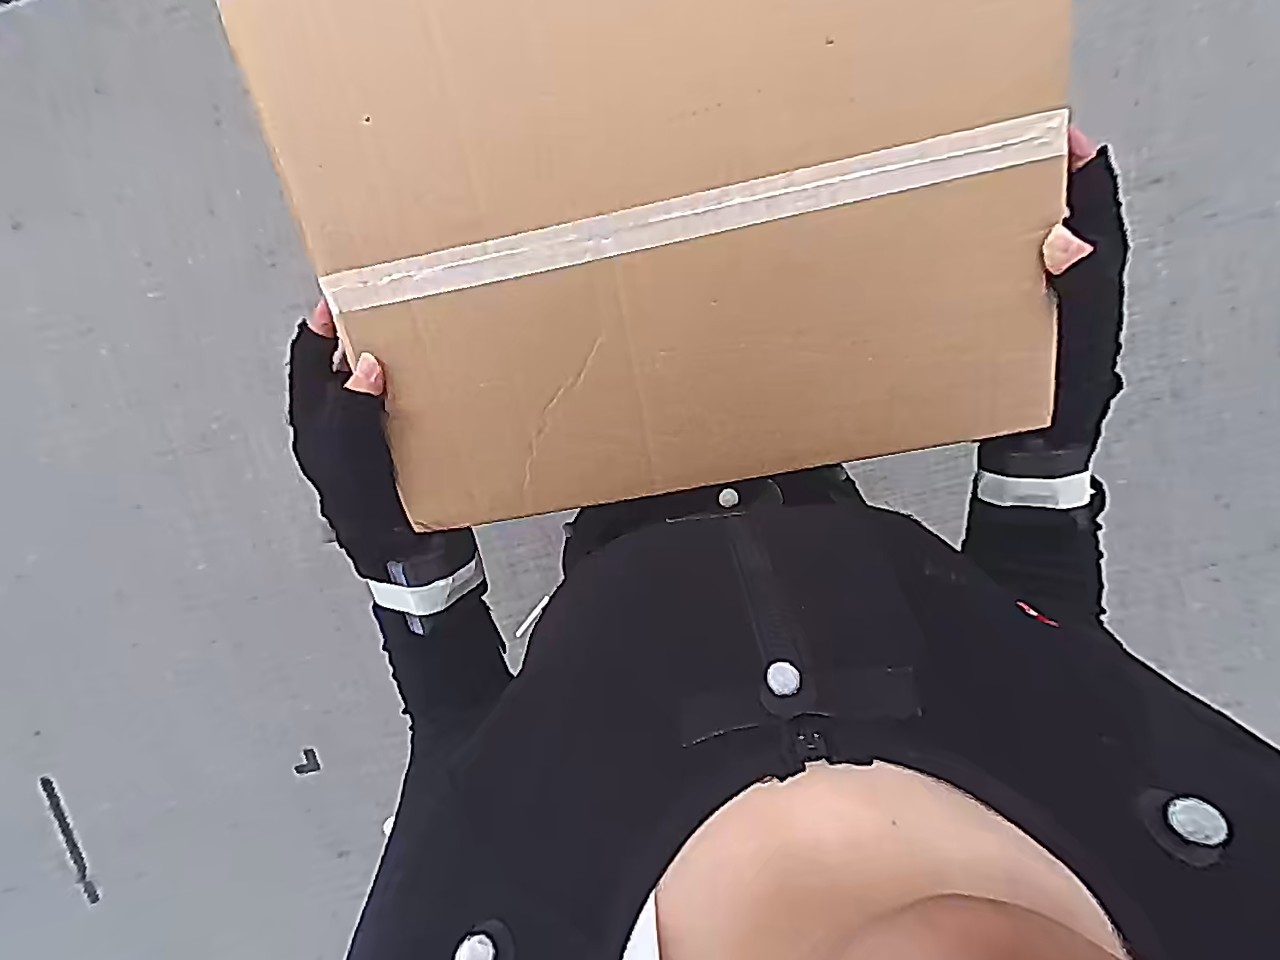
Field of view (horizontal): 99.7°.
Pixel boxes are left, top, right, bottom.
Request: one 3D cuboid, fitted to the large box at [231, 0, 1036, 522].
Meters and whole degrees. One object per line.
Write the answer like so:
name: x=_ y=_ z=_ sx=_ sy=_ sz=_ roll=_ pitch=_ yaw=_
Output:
large box: x=0.018 y=-0.198 z=0.445 sx=0.408 sy=0.320 sz=0.320 roll=-10 pitch=109 yaw=5
